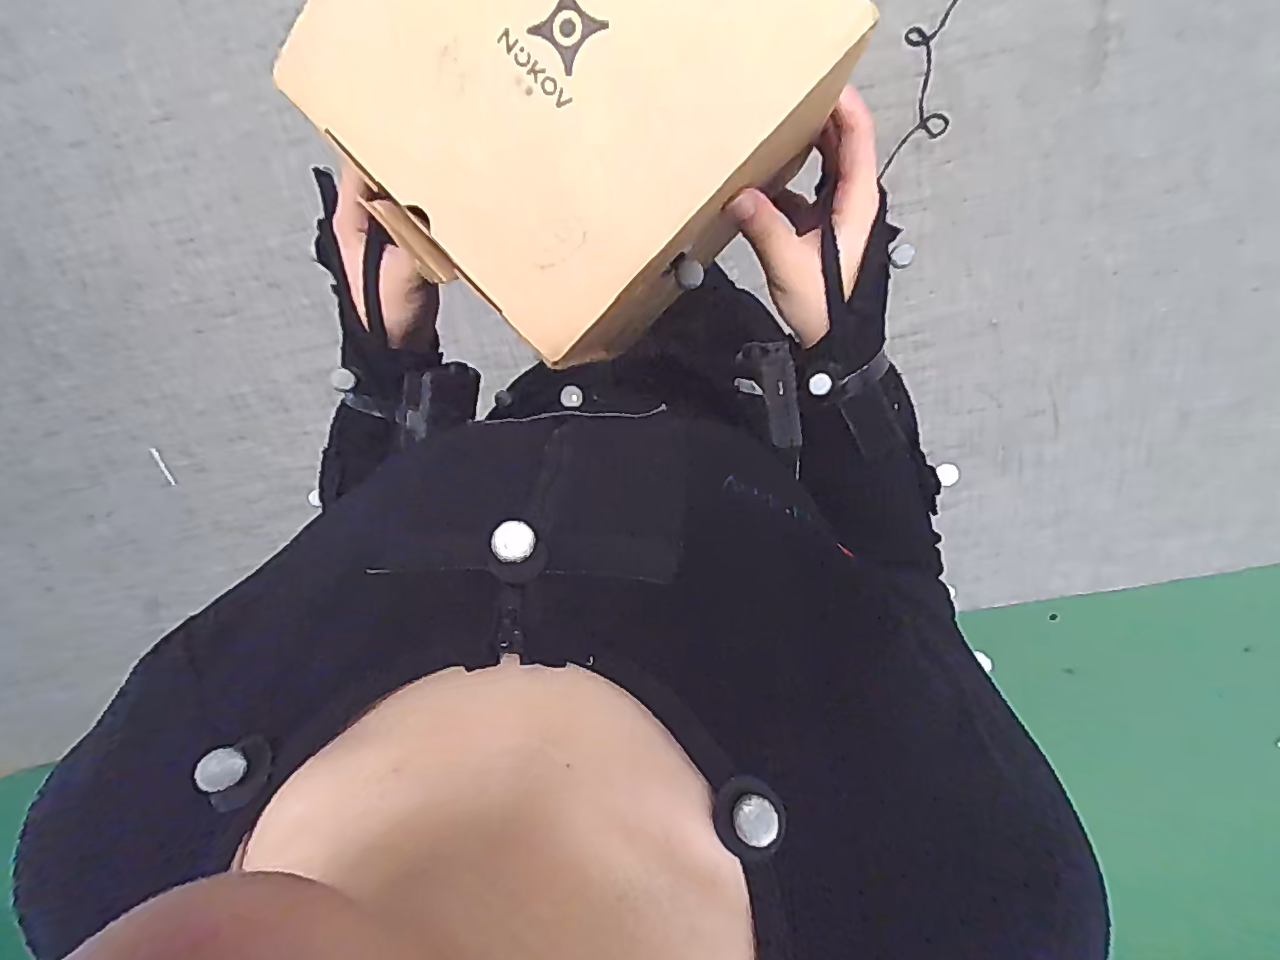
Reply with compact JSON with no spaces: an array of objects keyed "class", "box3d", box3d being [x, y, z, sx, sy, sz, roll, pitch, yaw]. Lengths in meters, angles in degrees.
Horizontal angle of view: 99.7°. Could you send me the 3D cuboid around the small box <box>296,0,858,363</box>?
[{"class":"small box","box3d":[-0.022,-0.183,0.291,0.179,0.176,0.168,-43,95,15]}]
